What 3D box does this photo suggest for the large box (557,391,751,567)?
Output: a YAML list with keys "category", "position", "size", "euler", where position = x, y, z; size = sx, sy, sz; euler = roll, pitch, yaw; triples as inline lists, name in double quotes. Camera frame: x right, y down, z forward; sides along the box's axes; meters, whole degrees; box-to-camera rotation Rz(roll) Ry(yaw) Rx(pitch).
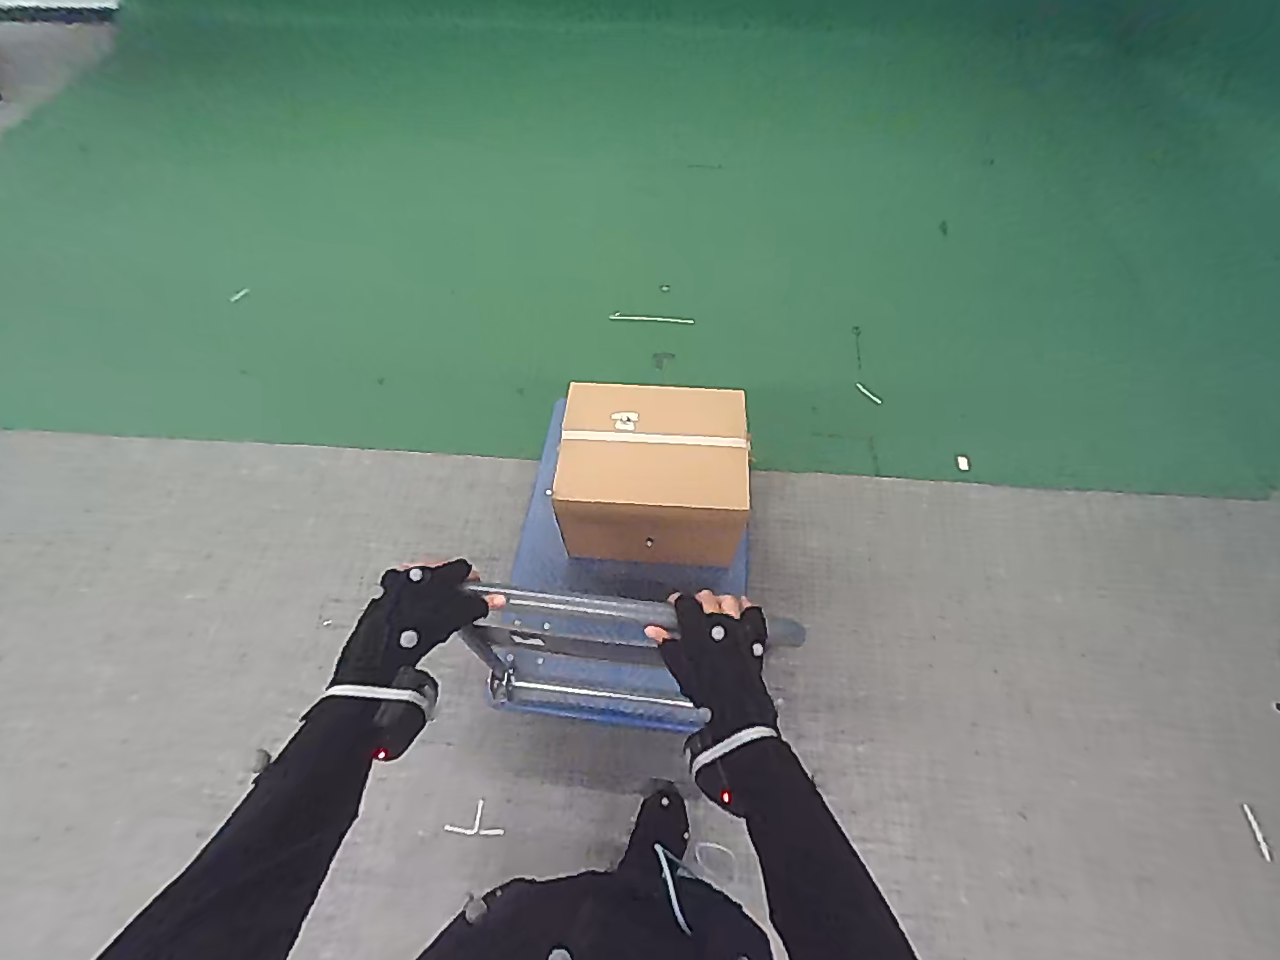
- category: "large box"
  position: [0.038, 0.006, 1.304]
  size: [0.408, 0.320, 0.320]
  euler: [3, 58, 3]
